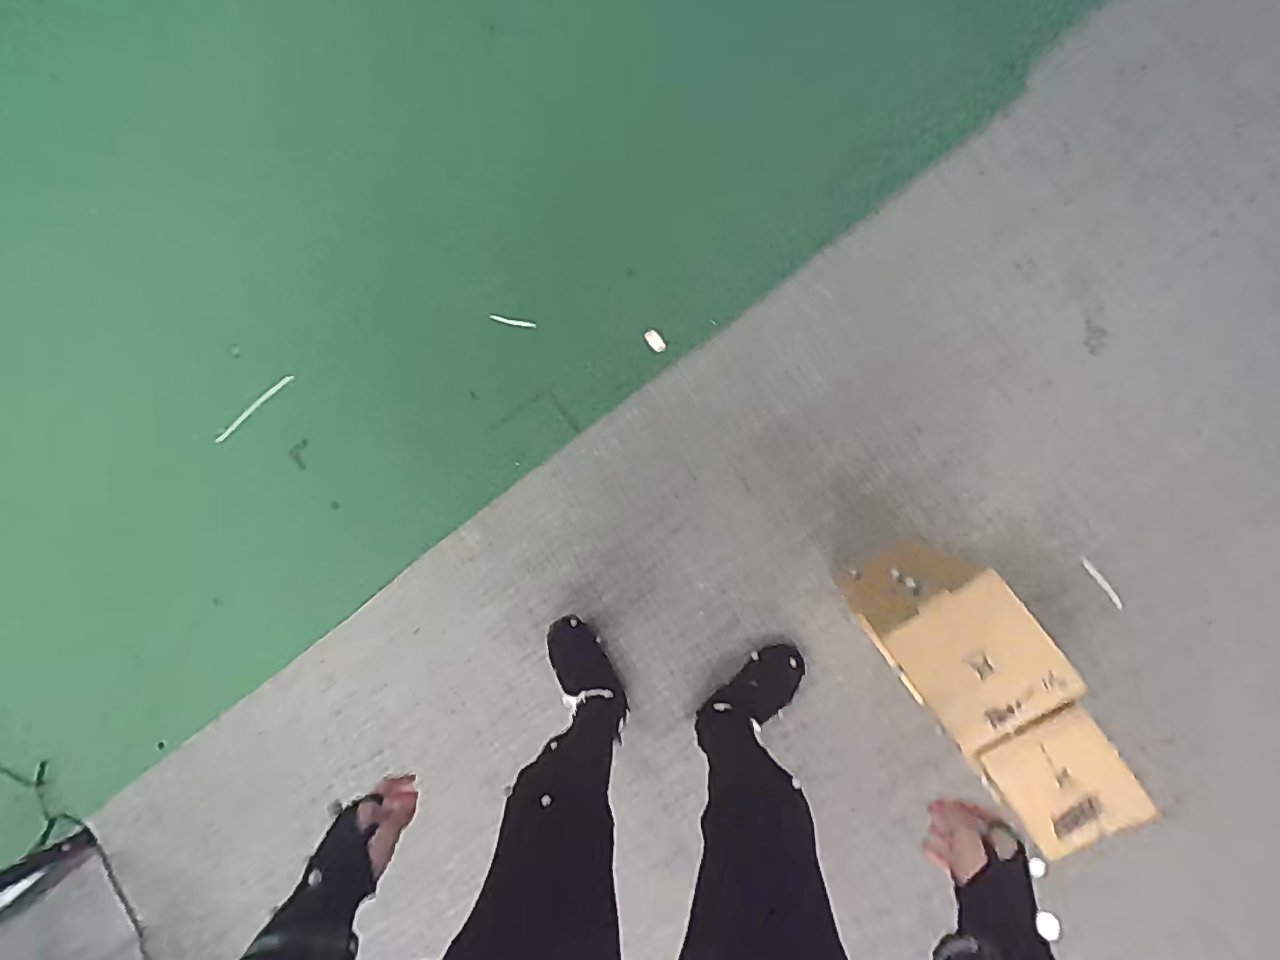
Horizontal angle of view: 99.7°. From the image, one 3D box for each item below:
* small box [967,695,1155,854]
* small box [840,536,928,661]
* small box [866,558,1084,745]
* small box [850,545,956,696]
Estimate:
[{"bbox_3d":[0.640,0.439,0.869,0.168,0.176,0.179,-33,81,10],"label":"small box"},{"bbox_3d":[0.515,0.228,1.072,0.179,0.176,0.168,-34,82,12],"label":"small box"},{"bbox_3d":[0.442,0.221,0.754,0.168,0.176,0.179,-36,80,11],"label":"small box"},{"bbox_3d":[0.477,0.227,0.915,0.179,0.176,0.168,-37,81,10],"label":"small box"}]
